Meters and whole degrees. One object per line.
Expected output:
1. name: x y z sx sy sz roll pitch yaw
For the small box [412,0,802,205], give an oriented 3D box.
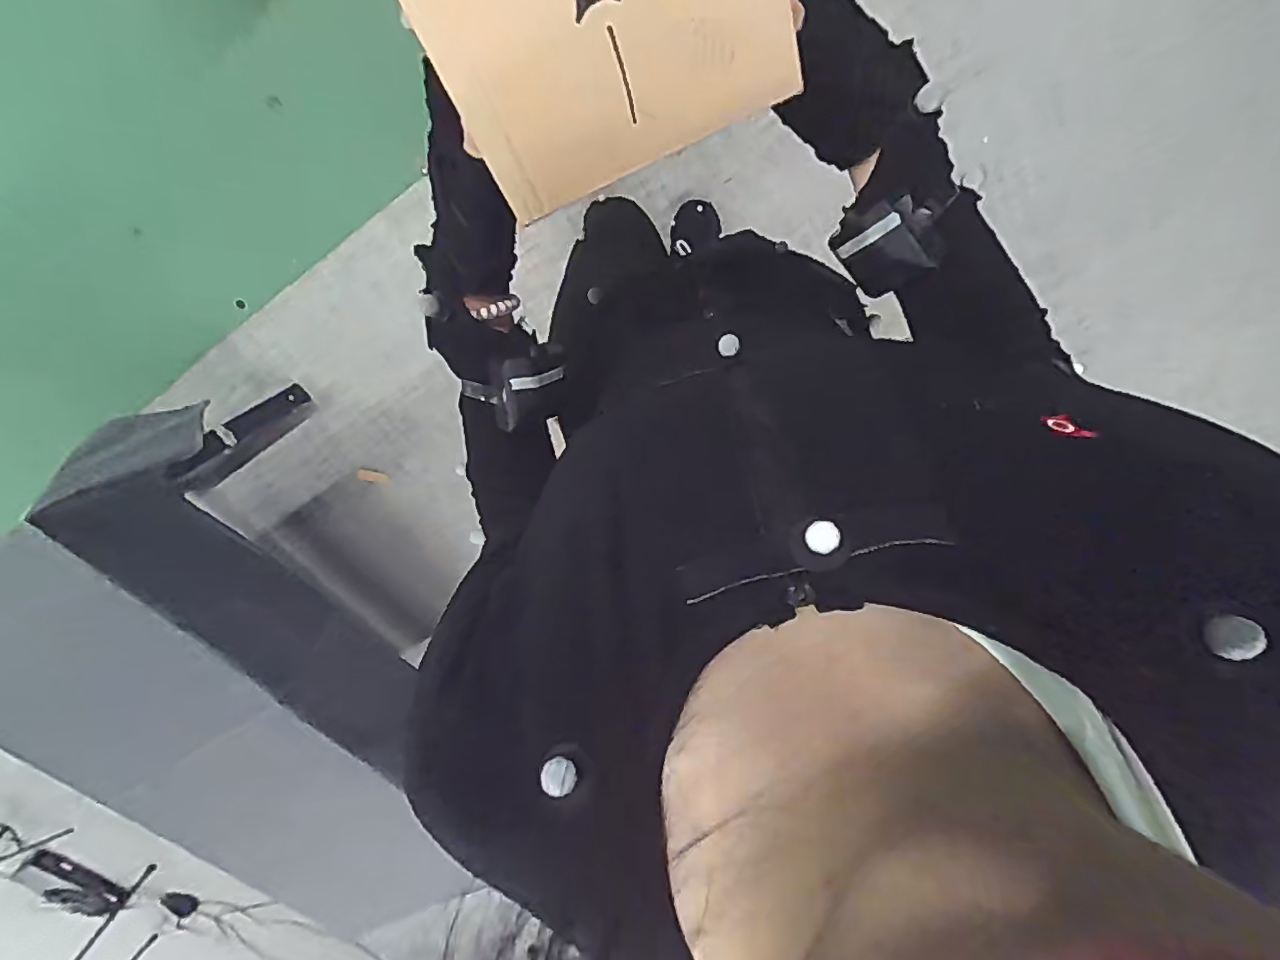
1. small box: -0.031 -0.288 0.292 0.168 0.176 0.179 -20 131 11
